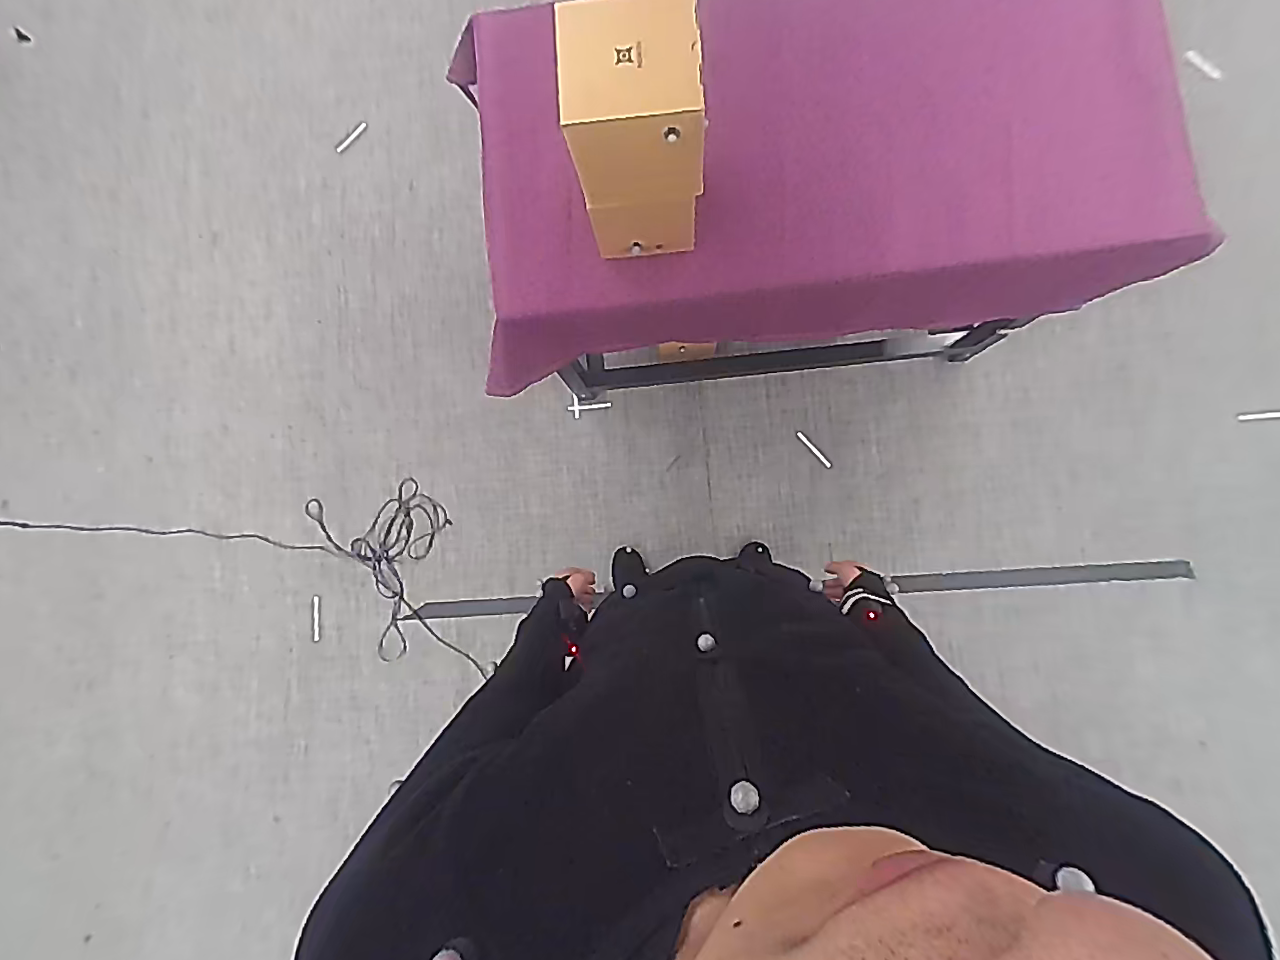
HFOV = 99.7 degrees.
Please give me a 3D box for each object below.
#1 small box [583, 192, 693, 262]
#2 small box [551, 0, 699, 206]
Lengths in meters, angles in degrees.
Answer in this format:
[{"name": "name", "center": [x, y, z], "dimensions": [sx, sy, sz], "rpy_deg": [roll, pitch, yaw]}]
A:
[{"name": "small box", "center": [-0.002, -0.486, 0.888], "dimensions": [0.168, 0.176, 0.179], "rpy_deg": [-4, 85, 5]}, {"name": "small box", "center": [-0.012, -0.495, 0.726], "dimensions": [0.179, 0.176, 0.168], "rpy_deg": [-4, 85, 5]}]
